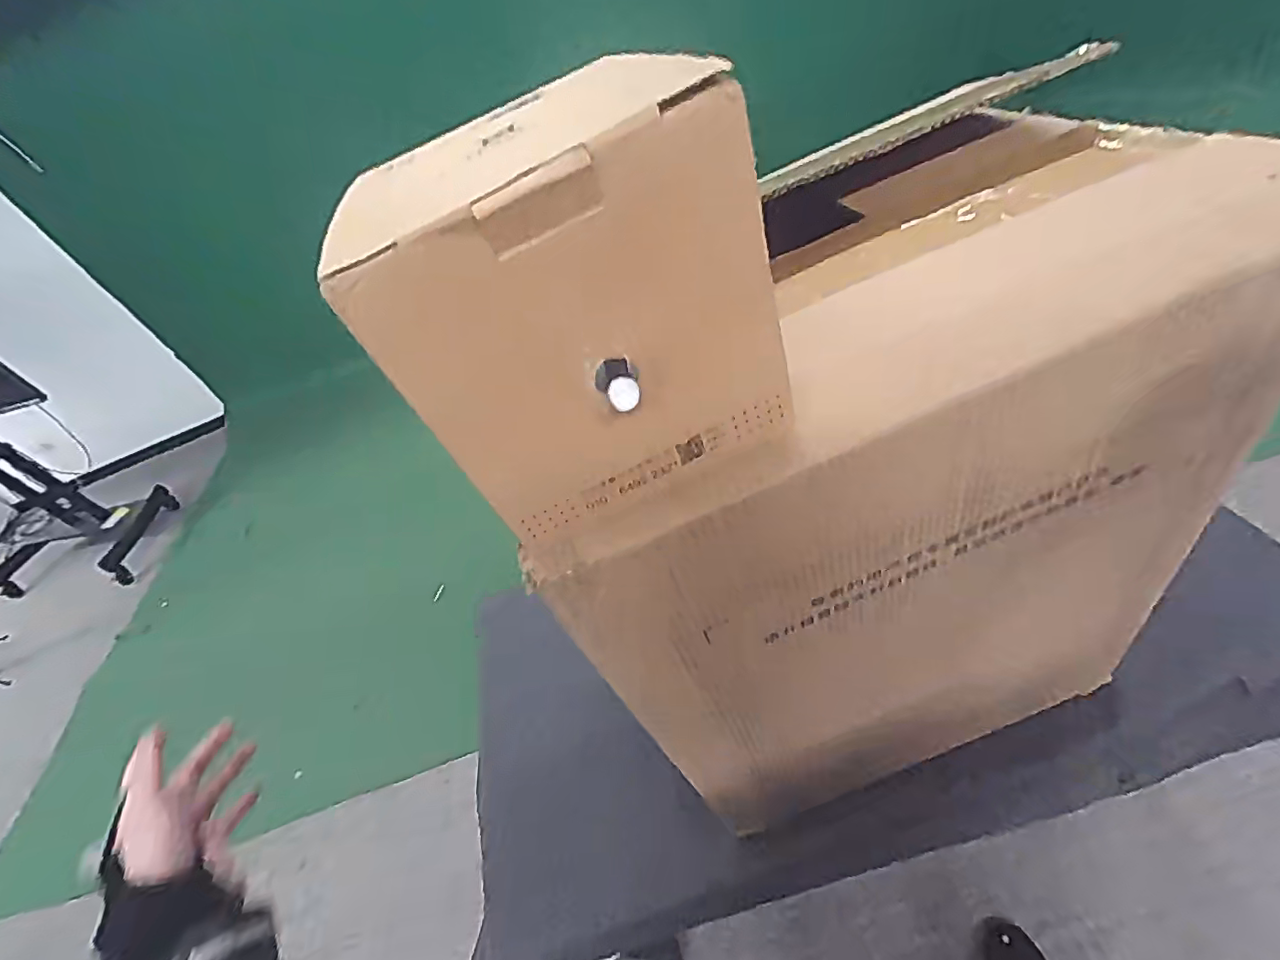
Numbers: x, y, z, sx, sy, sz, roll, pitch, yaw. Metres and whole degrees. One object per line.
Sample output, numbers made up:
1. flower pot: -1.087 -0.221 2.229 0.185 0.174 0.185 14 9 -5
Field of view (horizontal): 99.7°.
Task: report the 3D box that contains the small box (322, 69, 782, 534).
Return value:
1. small box: -0.038 -0.093 0.305 0.168 0.176 0.179 -26 43 0
